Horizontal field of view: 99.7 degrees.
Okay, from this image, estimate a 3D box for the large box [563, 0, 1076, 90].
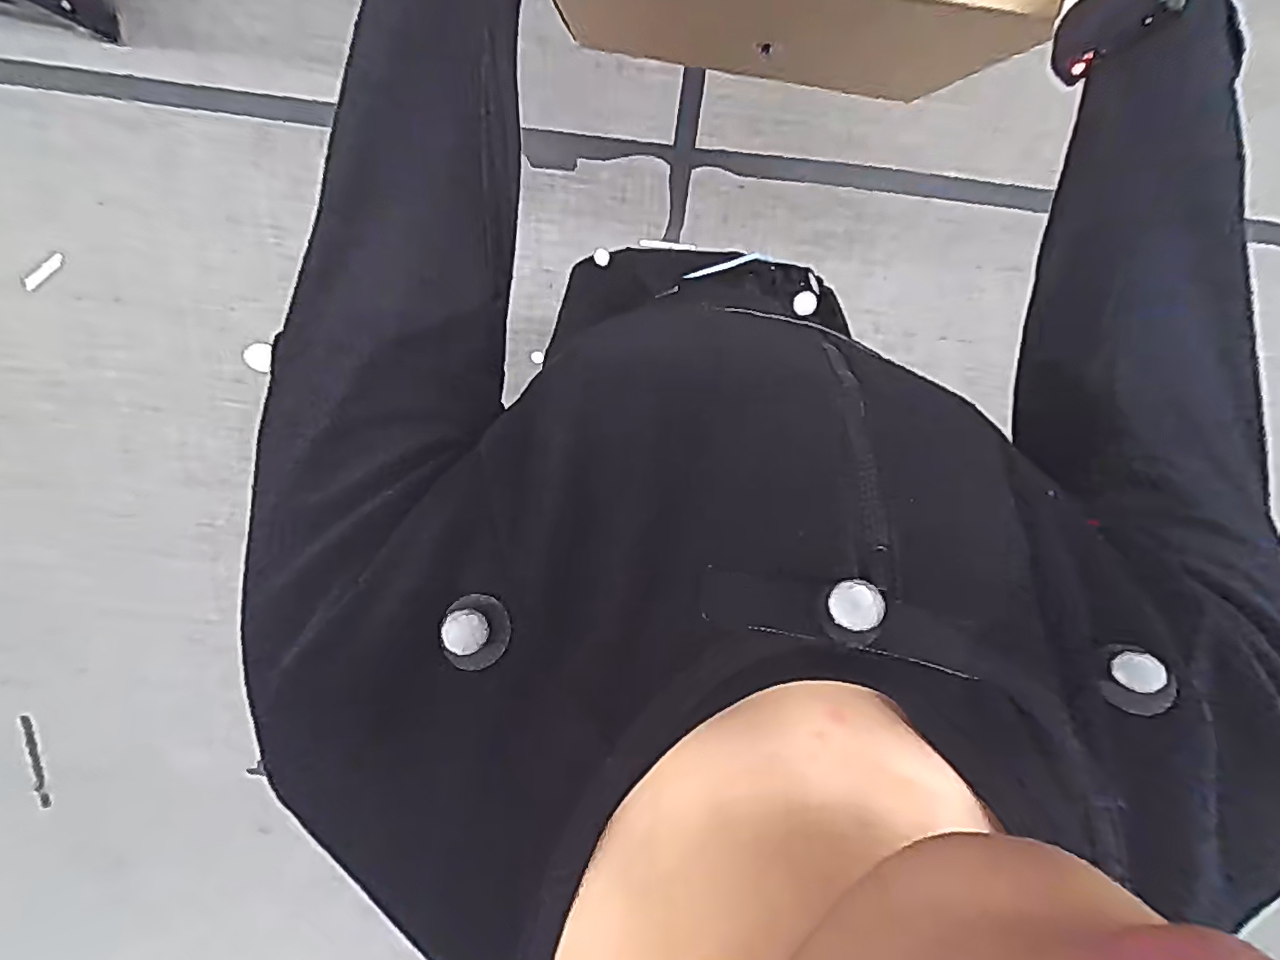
[{"bbox_3d":[0.141,-0.558,0.445,0.408,0.320,0.320,9,116,-1],"label":"large box"}]
